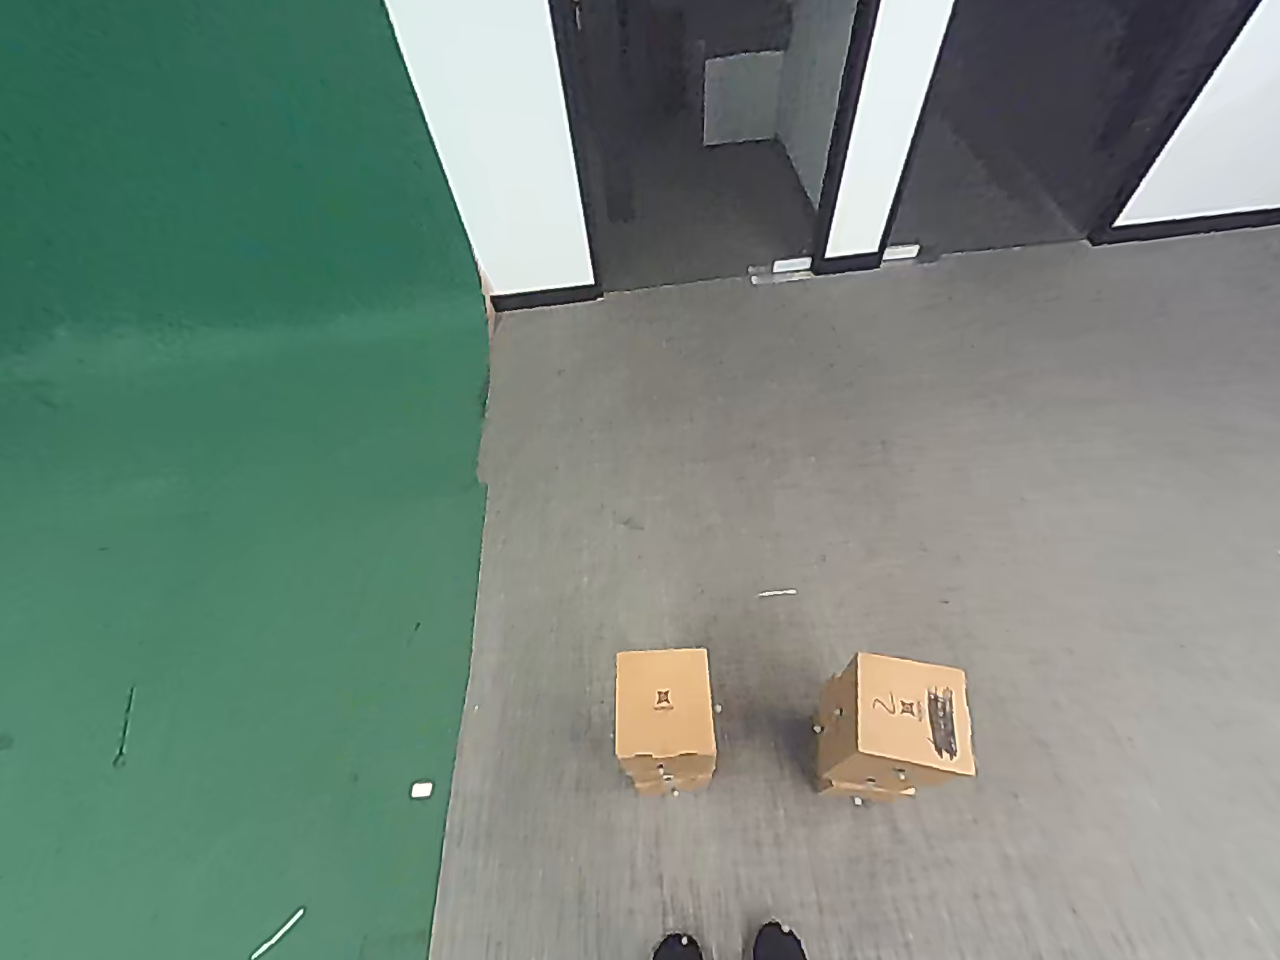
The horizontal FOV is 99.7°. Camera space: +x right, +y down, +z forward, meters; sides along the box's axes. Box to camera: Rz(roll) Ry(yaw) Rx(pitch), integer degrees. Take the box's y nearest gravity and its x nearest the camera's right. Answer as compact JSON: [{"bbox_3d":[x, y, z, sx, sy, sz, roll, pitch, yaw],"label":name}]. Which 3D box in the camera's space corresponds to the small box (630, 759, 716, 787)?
[{"bbox_3d":[0.058,0.518,1.119,0.168,0.176,0.179,-8,54,0],"label":"small box"}]

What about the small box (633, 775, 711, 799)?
[{"bbox_3d":[0.064,0.618,1.247,0.168,0.176,0.179,-8,54,-1],"label":"small box"}]

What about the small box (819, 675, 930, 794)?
[{"bbox_3d":[0.460,0.515,1.084,0.168,0.176,0.179,6,56,10],"label":"small box"}]

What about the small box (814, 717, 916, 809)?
[{"bbox_3d":[0.491,0.619,1.208,0.168,0.176,0.179,3,55,8],"label":"small box"}]

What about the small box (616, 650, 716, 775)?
[{"bbox_3d":[0.046,0.426,0.985,0.168,0.176,0.179,-3,54,3],"label":"small box"}]
